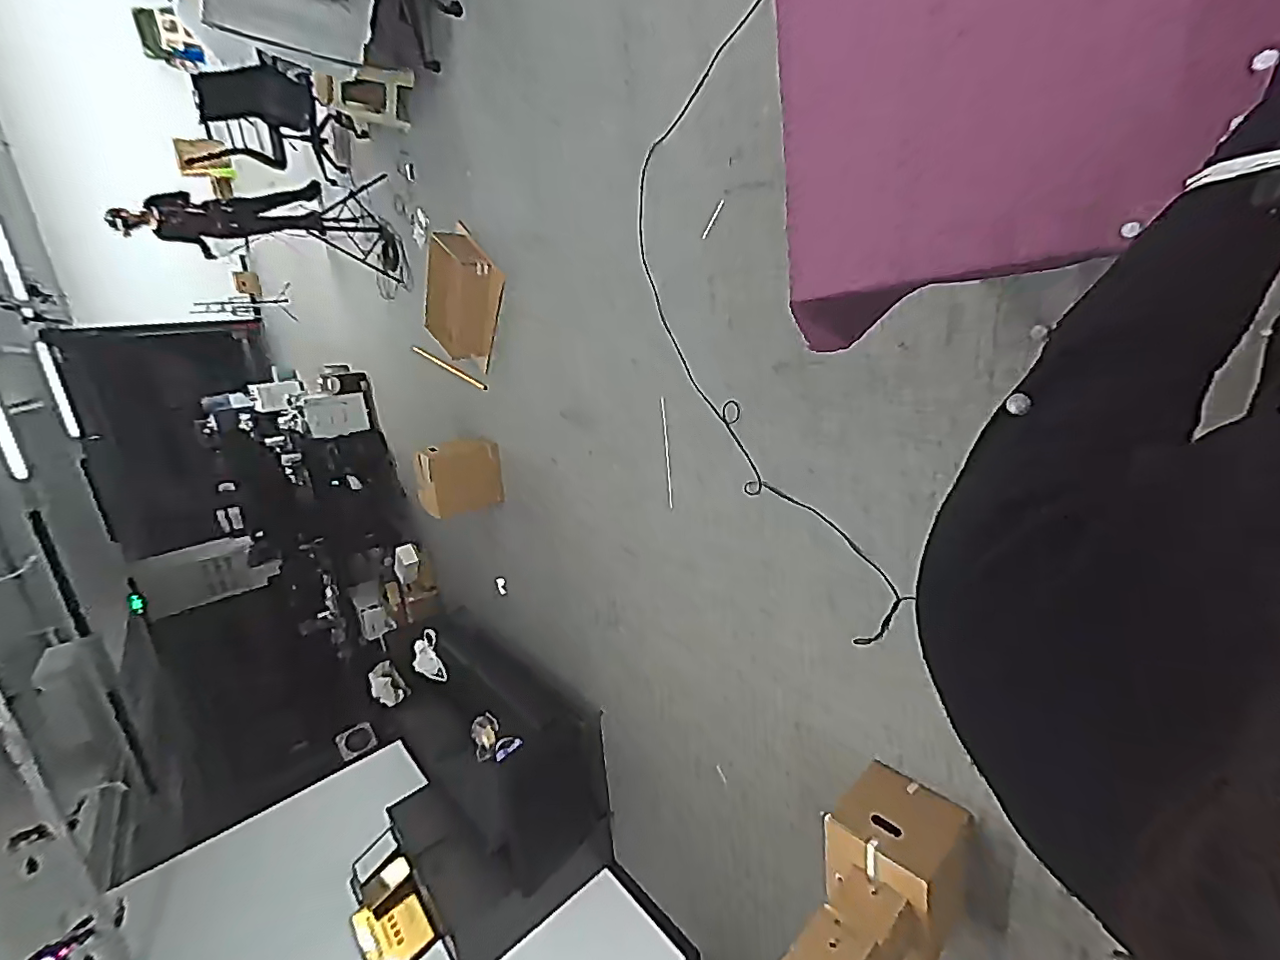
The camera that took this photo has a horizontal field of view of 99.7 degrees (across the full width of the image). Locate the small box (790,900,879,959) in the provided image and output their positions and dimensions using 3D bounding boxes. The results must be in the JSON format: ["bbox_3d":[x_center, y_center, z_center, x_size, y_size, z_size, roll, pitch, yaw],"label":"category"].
[{"bbox_3d":[0.530,1.301,1.458,0.168,0.176,0.179,0,104,50],"label":"small box"}]
